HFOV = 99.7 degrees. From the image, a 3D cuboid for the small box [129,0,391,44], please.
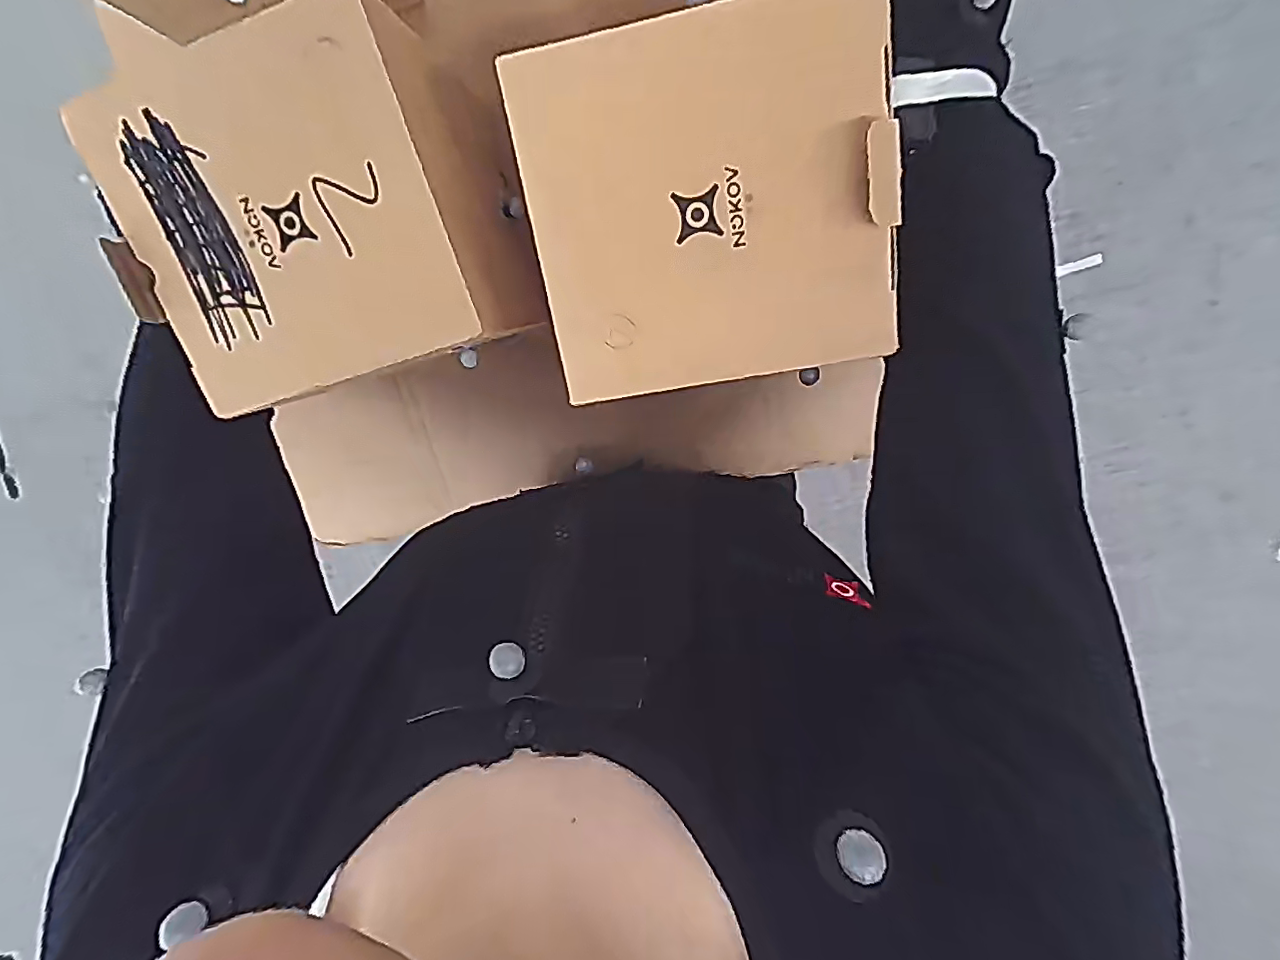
[{"bbox_3d":[-0.265,-0.393,0.305,0.168,0.176,0.179,-11,102,9],"label":"small box"}]
